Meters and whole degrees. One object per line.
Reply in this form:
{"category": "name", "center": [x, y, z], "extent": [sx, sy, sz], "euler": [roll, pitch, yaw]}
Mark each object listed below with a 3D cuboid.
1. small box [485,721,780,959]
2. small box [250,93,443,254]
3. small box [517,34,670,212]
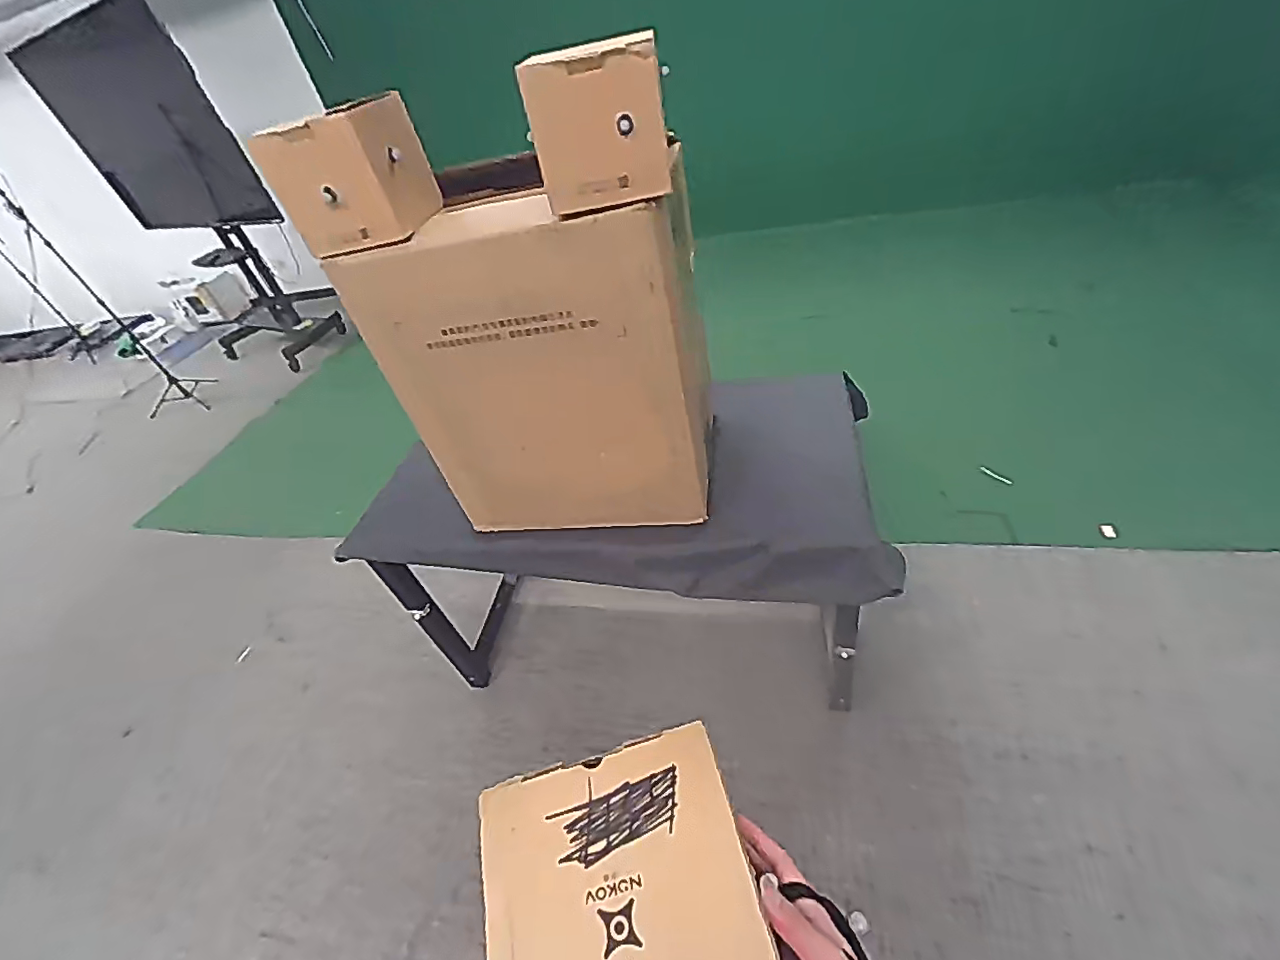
{"category": "small box", "center": [0.002, 0.304, 0.385], "extent": [0.168, 0.176, 0.179], "euler": [-17, 51, -1]}
{"category": "small box", "center": [-0.434, -0.466, 0.838], "extent": [0.168, 0.176, 0.179], "euler": [-6, 42, 12]}
{"category": "small box", "center": [-0.050, -0.479, 0.737], "extent": [0.168, 0.176, 0.179], "euler": [-6, 41, 7]}
